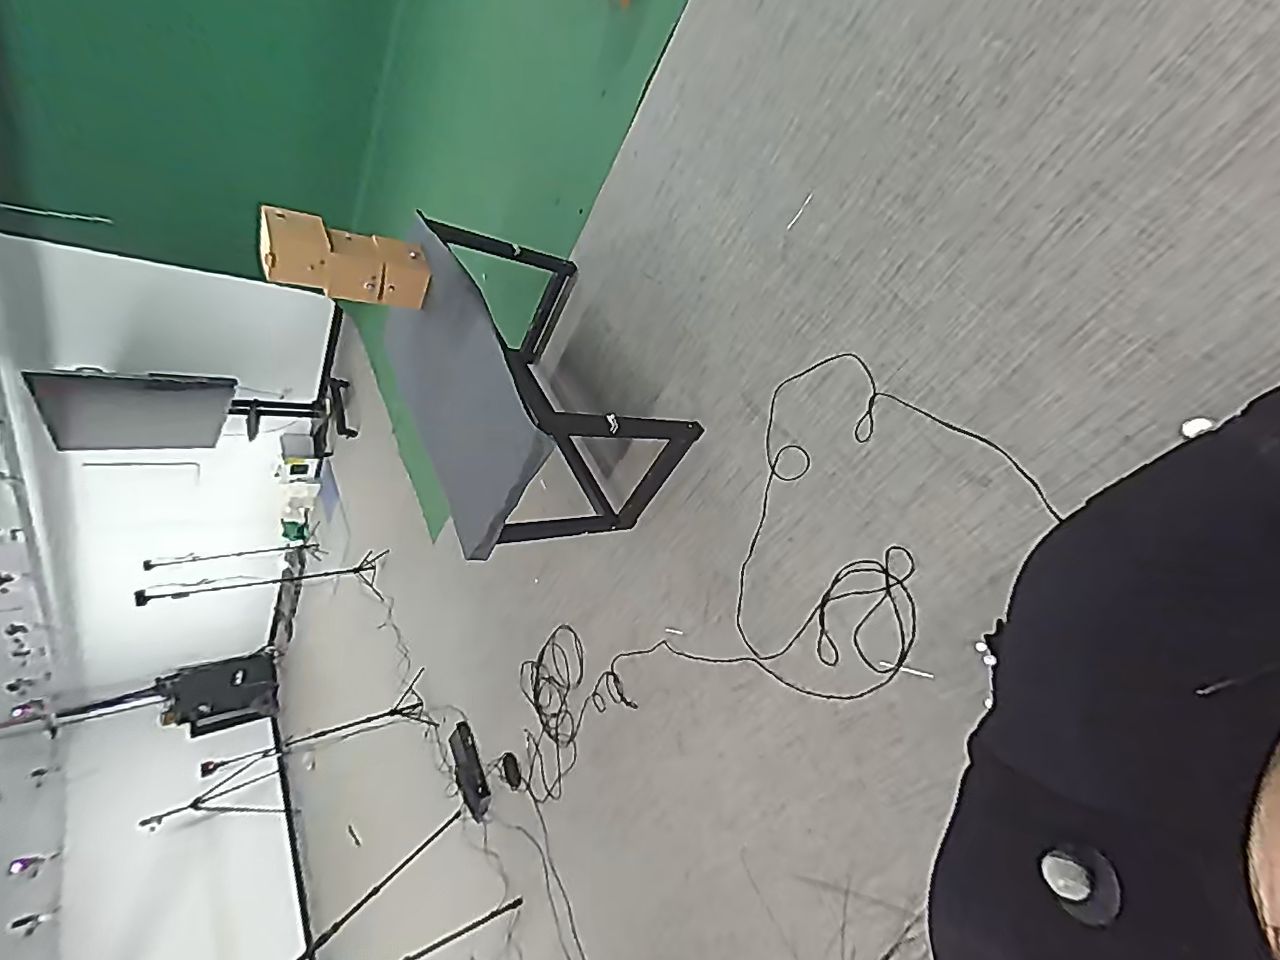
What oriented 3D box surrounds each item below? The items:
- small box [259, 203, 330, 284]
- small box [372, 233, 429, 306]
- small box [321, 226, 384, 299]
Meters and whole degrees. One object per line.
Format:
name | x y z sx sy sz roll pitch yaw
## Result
small box | -1.134 -0.767 1.772 0.168 0.176 0.179 -54 55 38
small box | -0.898 -0.770 1.999 0.179 0.176 0.168 -50 58 38
small box | -1.014 -0.753 1.887 0.179 0.176 0.168 54 131 29
